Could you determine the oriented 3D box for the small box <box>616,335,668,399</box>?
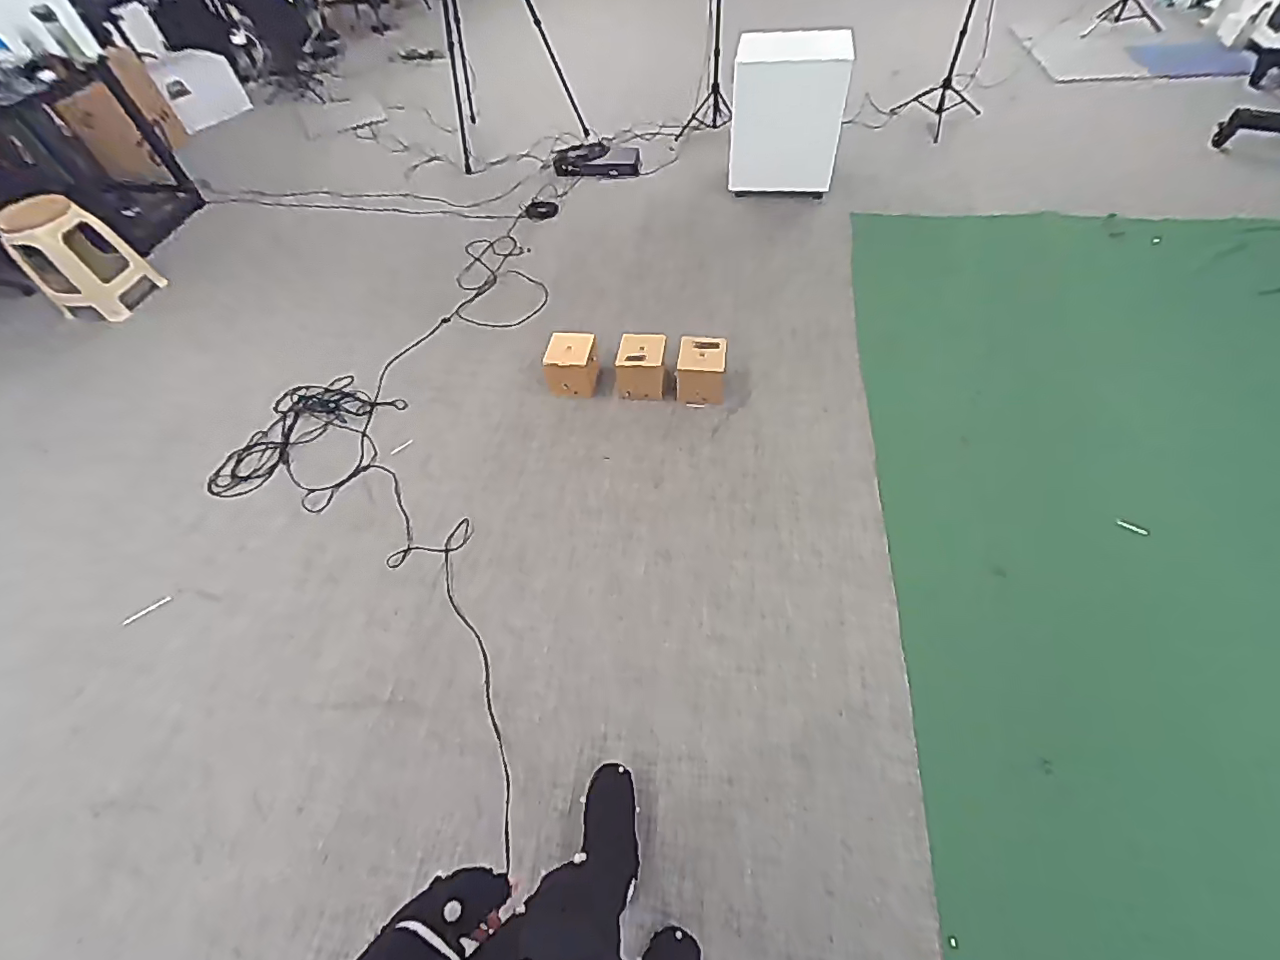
[{"bbox_3d":[0.014,-0.422,2.030,0.168,0.176,0.179,4,53,9],"label":"small box"}]

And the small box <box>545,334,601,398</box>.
[{"bbox_3d":[-0.249,-0.436,2.070,0.168,0.176,0.179,4,54,9],"label":"small box"}]
